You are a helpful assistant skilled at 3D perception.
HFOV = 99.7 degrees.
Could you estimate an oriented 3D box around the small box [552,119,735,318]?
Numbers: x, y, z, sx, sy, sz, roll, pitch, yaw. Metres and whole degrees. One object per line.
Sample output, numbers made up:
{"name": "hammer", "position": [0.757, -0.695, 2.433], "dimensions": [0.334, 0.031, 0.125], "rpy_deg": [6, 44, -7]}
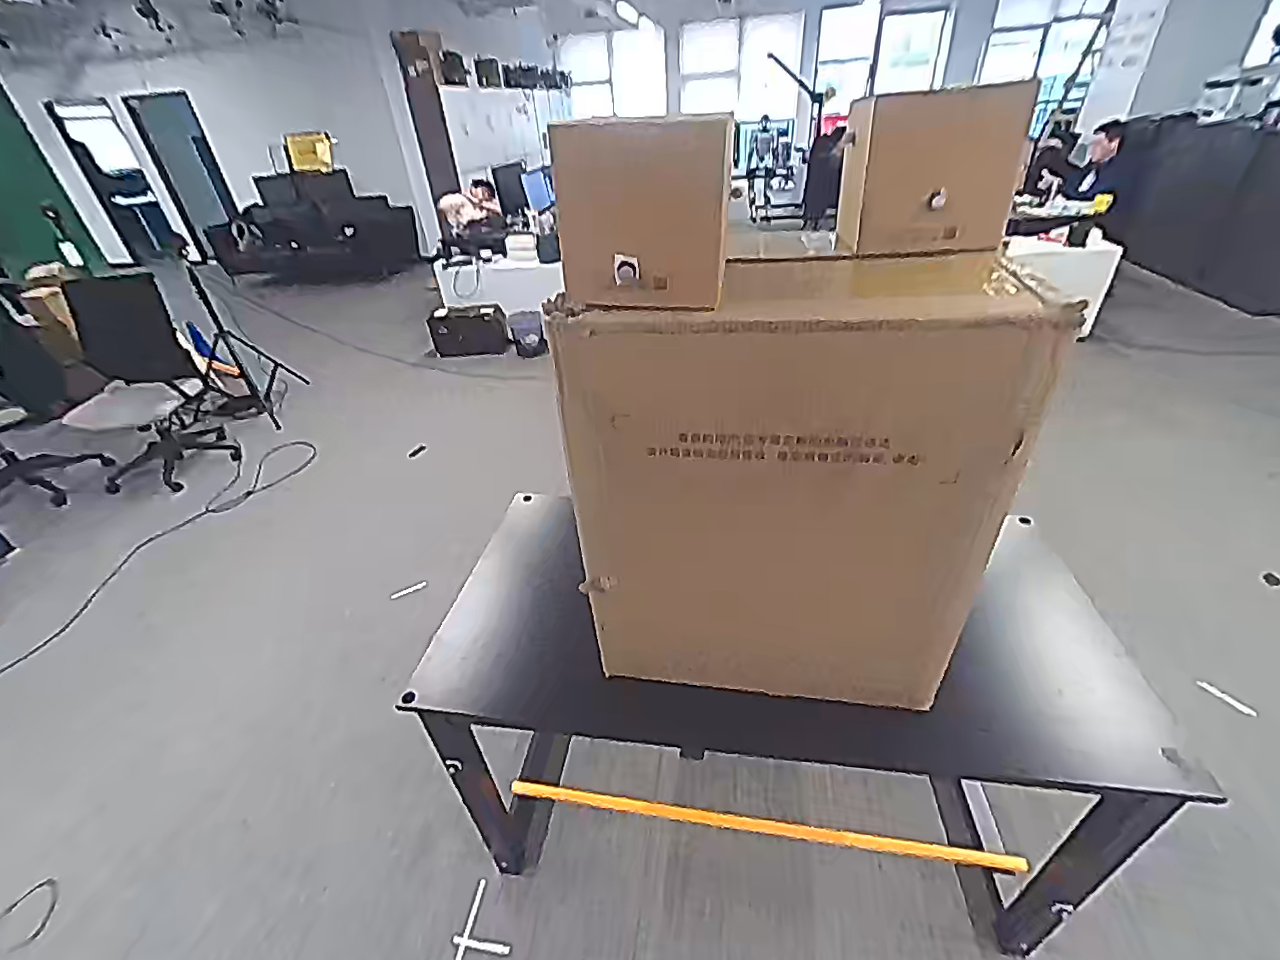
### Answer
{"name": "small box", "position": [0.014, -0.290, 0.594], "dimensions": [0.168, 0.176, 0.179], "rpy_deg": [3, 37, 9]}

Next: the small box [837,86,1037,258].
{"name": "small box", "position": [0.355, -0.385, 0.690], "dimensions": [0.168, 0.176, 0.179], "rpy_deg": [1, 32, 10]}
